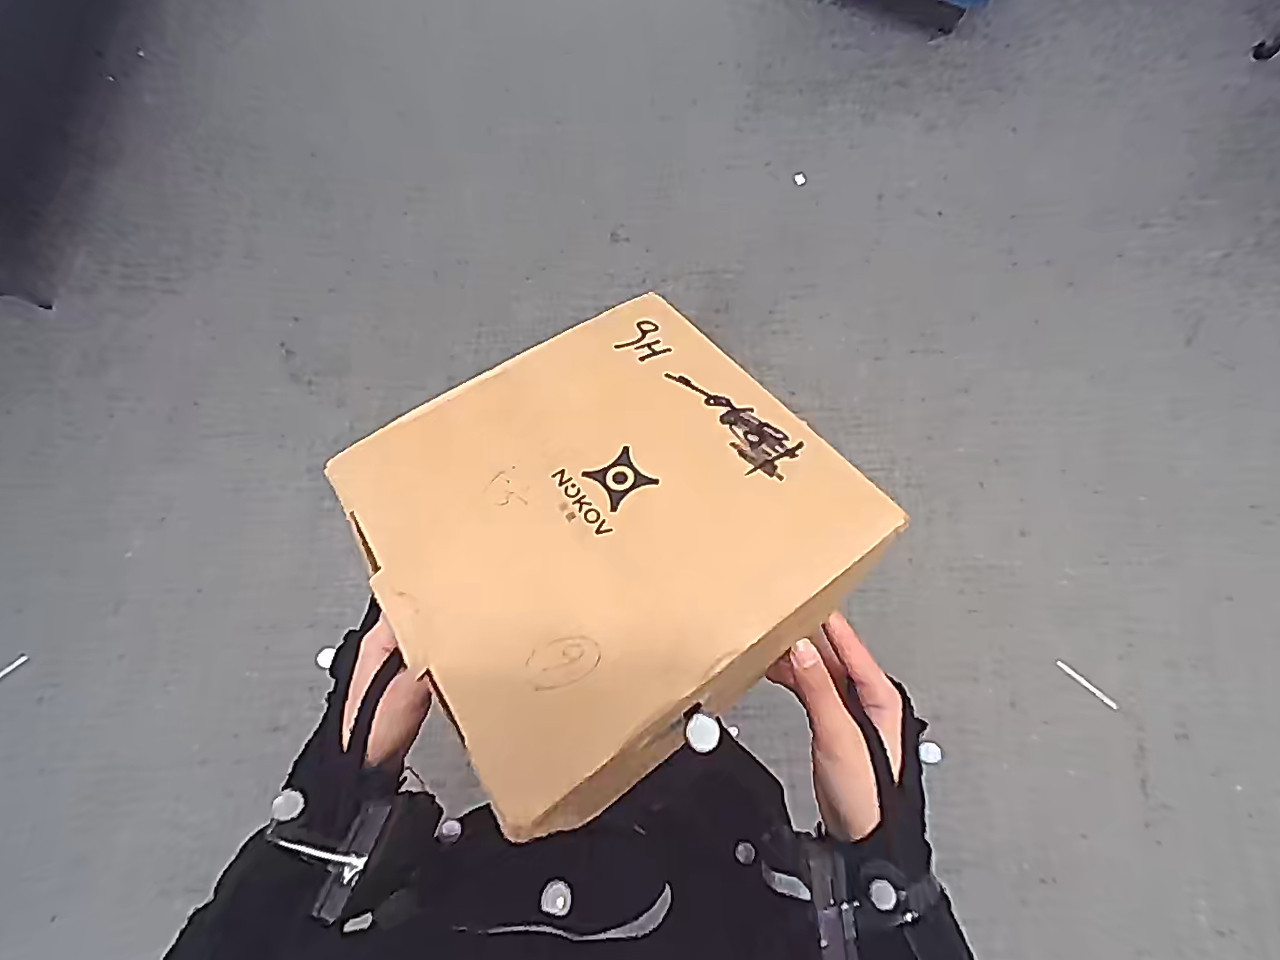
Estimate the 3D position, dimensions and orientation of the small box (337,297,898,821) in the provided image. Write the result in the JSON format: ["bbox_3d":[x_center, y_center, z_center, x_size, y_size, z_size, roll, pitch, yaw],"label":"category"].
[{"bbox_3d":[-0.011,0.047,0.285,0.179,0.176,0.168,-32,62,-16],"label":"small box"}]
